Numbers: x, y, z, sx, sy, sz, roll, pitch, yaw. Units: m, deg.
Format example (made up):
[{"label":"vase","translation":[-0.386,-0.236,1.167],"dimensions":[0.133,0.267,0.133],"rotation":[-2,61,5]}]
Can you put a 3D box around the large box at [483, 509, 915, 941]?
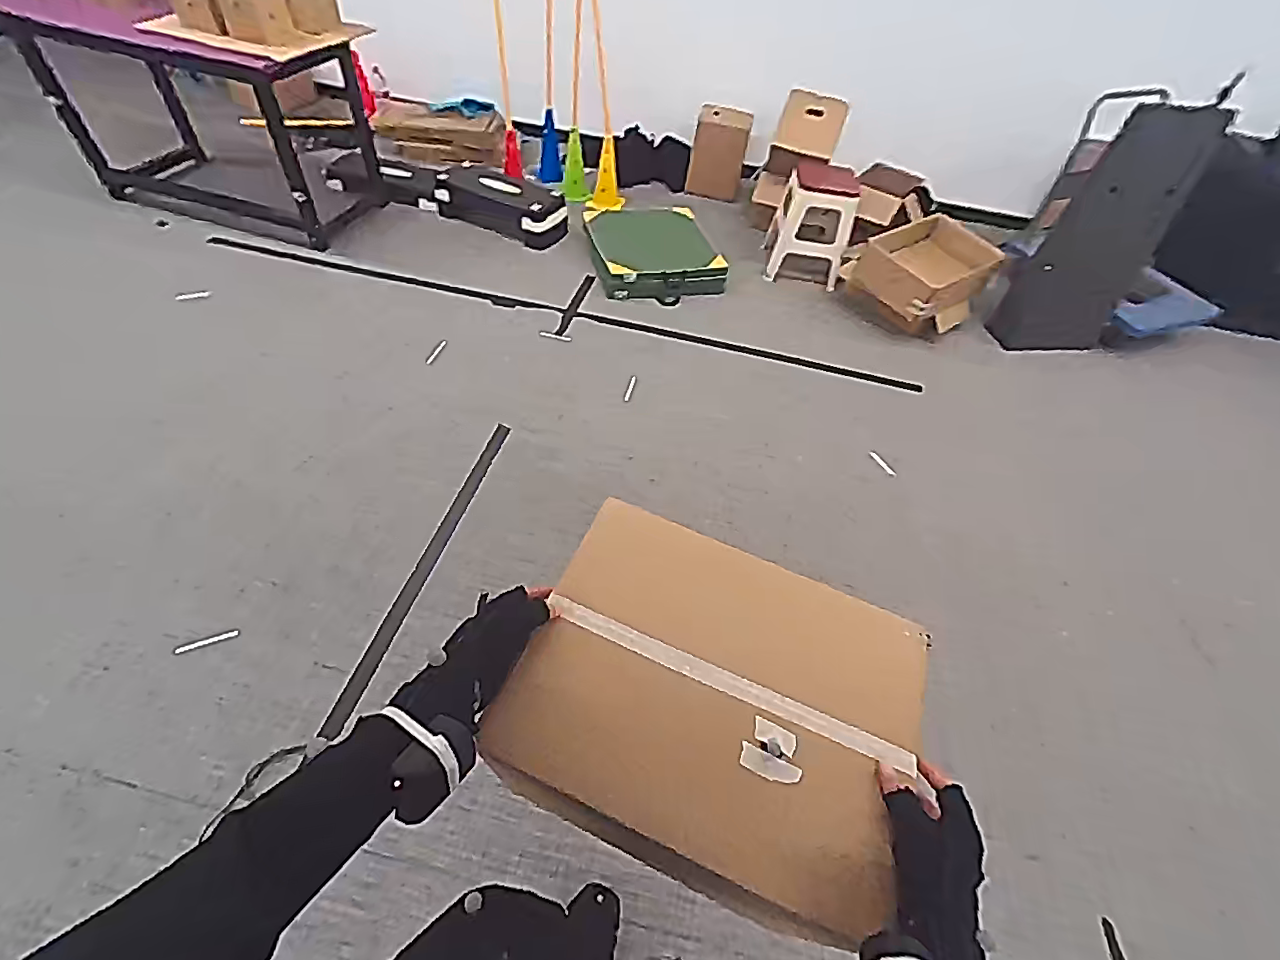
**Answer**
[{"label":"large box","translation":[0.068,0.301,0.697],"dimensions":[0.408,0.320,0.320],"rotation":[22,56,9]}]
